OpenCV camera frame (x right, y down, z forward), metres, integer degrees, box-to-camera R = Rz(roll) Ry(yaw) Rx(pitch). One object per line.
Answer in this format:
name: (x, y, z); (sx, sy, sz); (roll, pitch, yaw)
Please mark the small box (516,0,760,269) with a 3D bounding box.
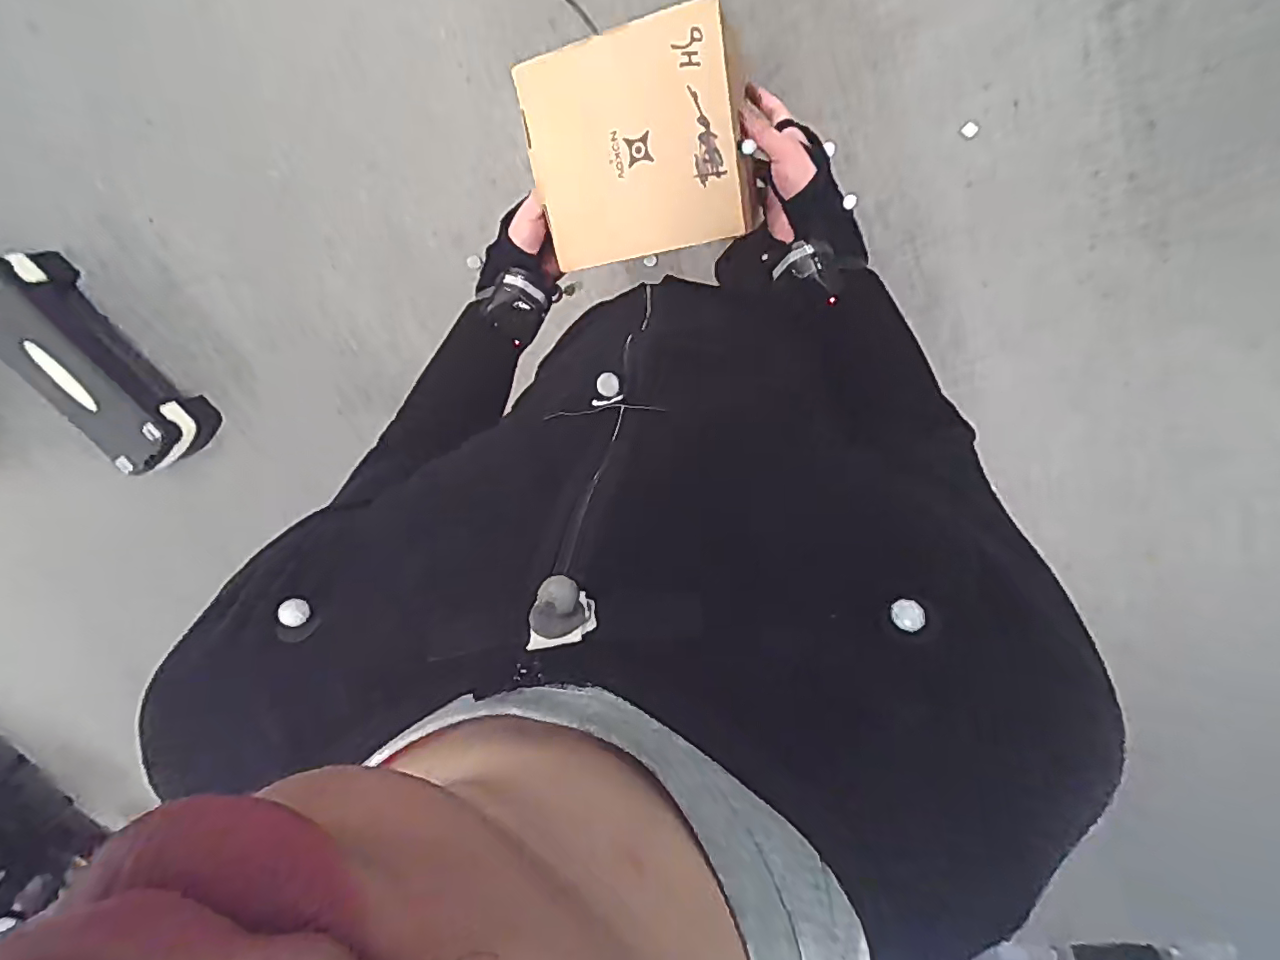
small box: (0.014, -0.309, 0.520); (0.179, 0.176, 0.168); (-3, 116, 19)
